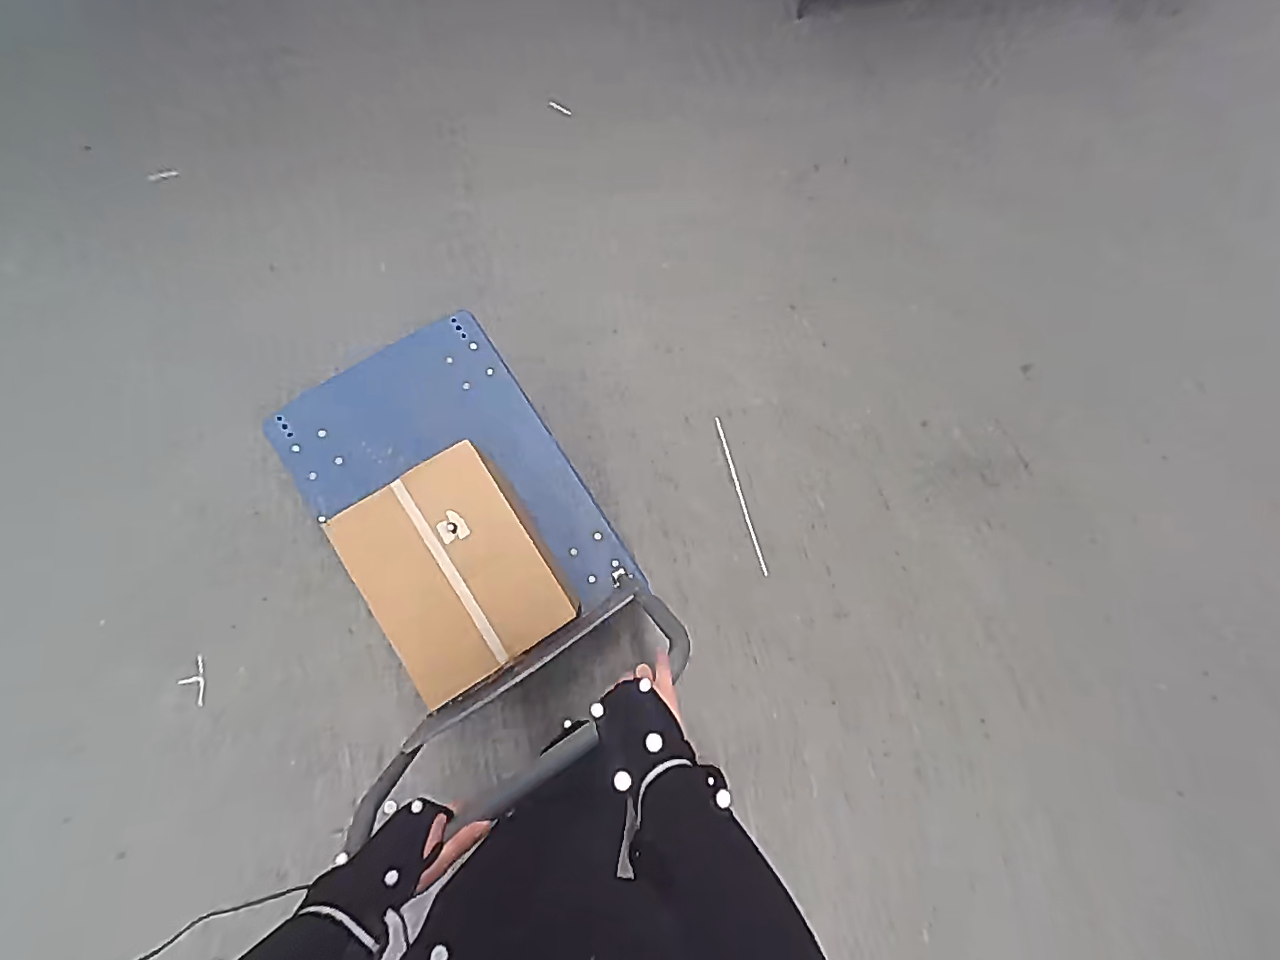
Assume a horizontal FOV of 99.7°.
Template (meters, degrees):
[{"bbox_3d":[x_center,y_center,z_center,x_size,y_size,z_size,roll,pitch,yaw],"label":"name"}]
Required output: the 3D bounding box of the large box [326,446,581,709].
[{"bbox_3d":[-0.364,0.198,1.161,0.320,0.320,0.408,-32,85,-9],"label":"large box"}]
